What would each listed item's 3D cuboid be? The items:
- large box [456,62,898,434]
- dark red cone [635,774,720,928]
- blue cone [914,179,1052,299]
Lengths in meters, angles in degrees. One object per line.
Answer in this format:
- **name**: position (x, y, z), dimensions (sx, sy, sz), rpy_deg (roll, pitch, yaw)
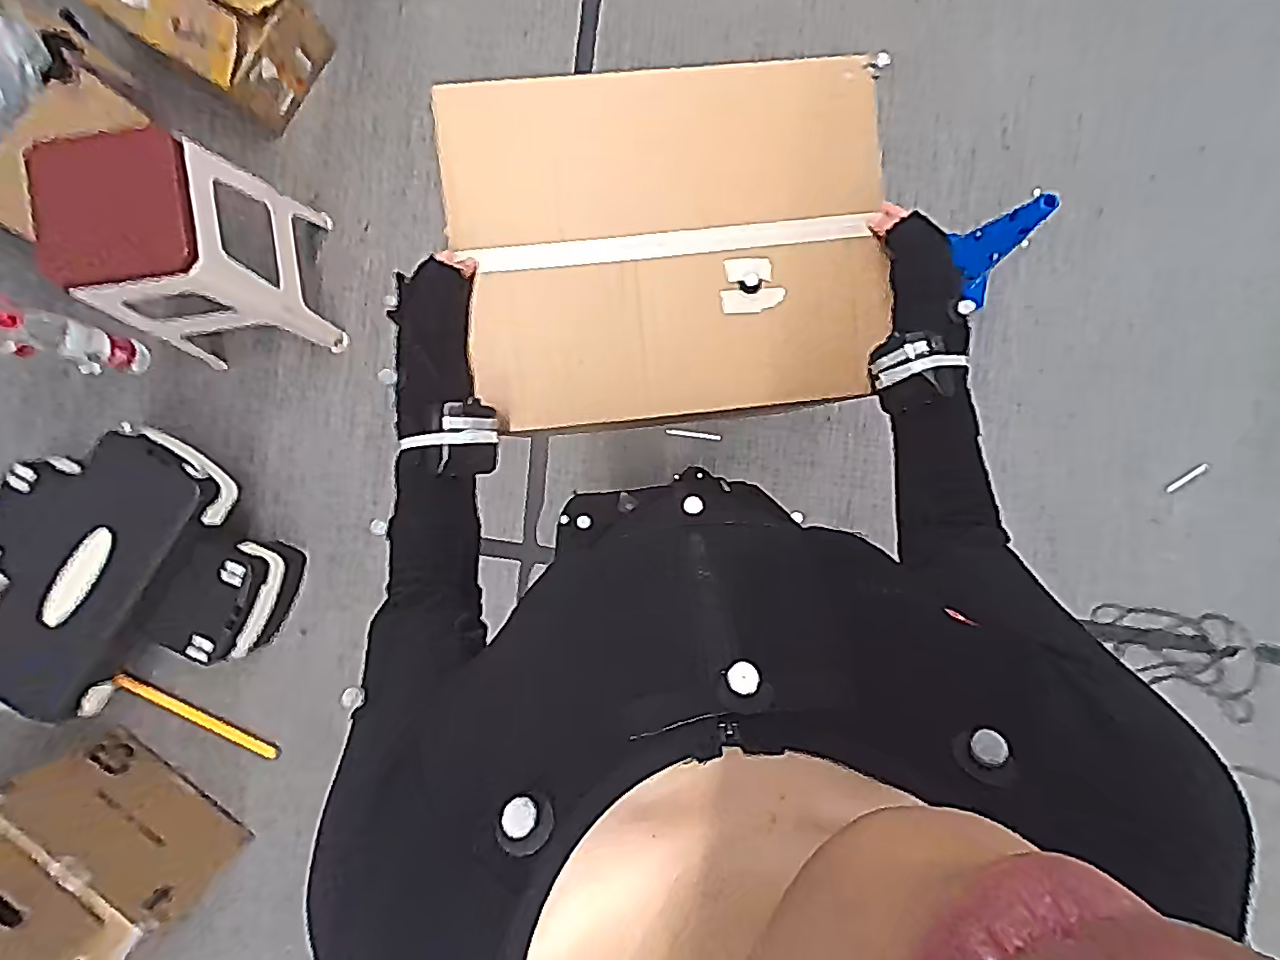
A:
- **large box**: position (0.032, -0.232, 0.658), dimensions (0.408, 0.320, 0.320), rpy_deg (-5, 94, -3)
- **dark red cone**: position (0.098, 0.887, 1.273), dimensions (0.202, 0.394, 0.201), rpy_deg (12, 88, 0)
- **blue cone**: position (0.853, -0.602, 1.324), dimensions (0.193, 0.380, 0.192), rpy_deg (10, 88, 0)
